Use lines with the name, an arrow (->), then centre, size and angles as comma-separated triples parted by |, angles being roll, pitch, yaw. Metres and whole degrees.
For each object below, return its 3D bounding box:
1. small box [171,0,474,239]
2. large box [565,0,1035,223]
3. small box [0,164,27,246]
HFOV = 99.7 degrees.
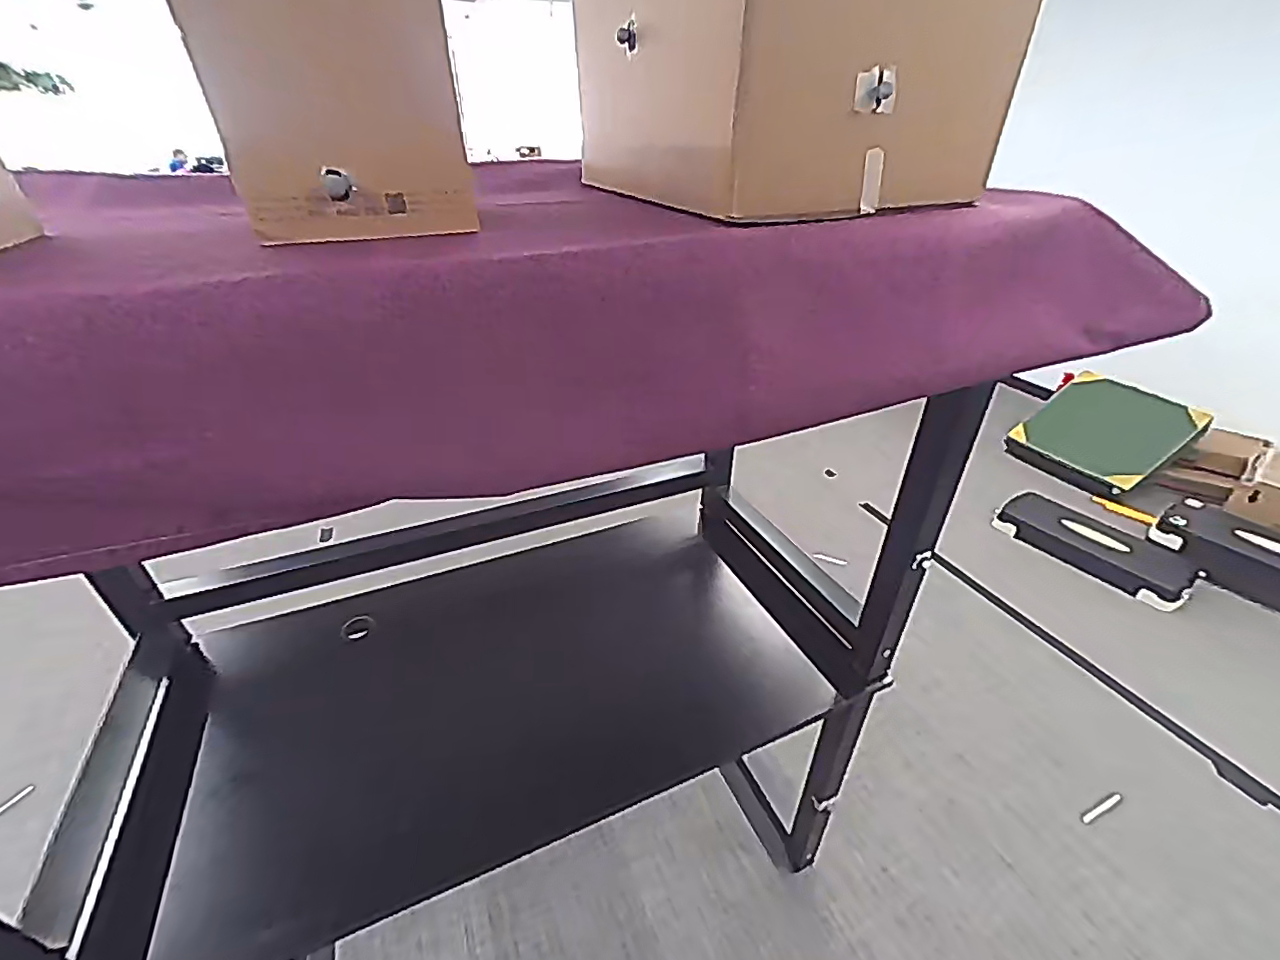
small box -> -0.244, -0.303, 0.447 | 0.168, 0.176, 0.179 | -14, 36, -18
large box -> 0.129, -0.472, 0.574 | 0.320, 0.320, 0.408 | -14, 34, -20
small box -> -0.527, -0.211, 0.308 | 0.168, 0.176, 0.179 | -15, 35, -21
